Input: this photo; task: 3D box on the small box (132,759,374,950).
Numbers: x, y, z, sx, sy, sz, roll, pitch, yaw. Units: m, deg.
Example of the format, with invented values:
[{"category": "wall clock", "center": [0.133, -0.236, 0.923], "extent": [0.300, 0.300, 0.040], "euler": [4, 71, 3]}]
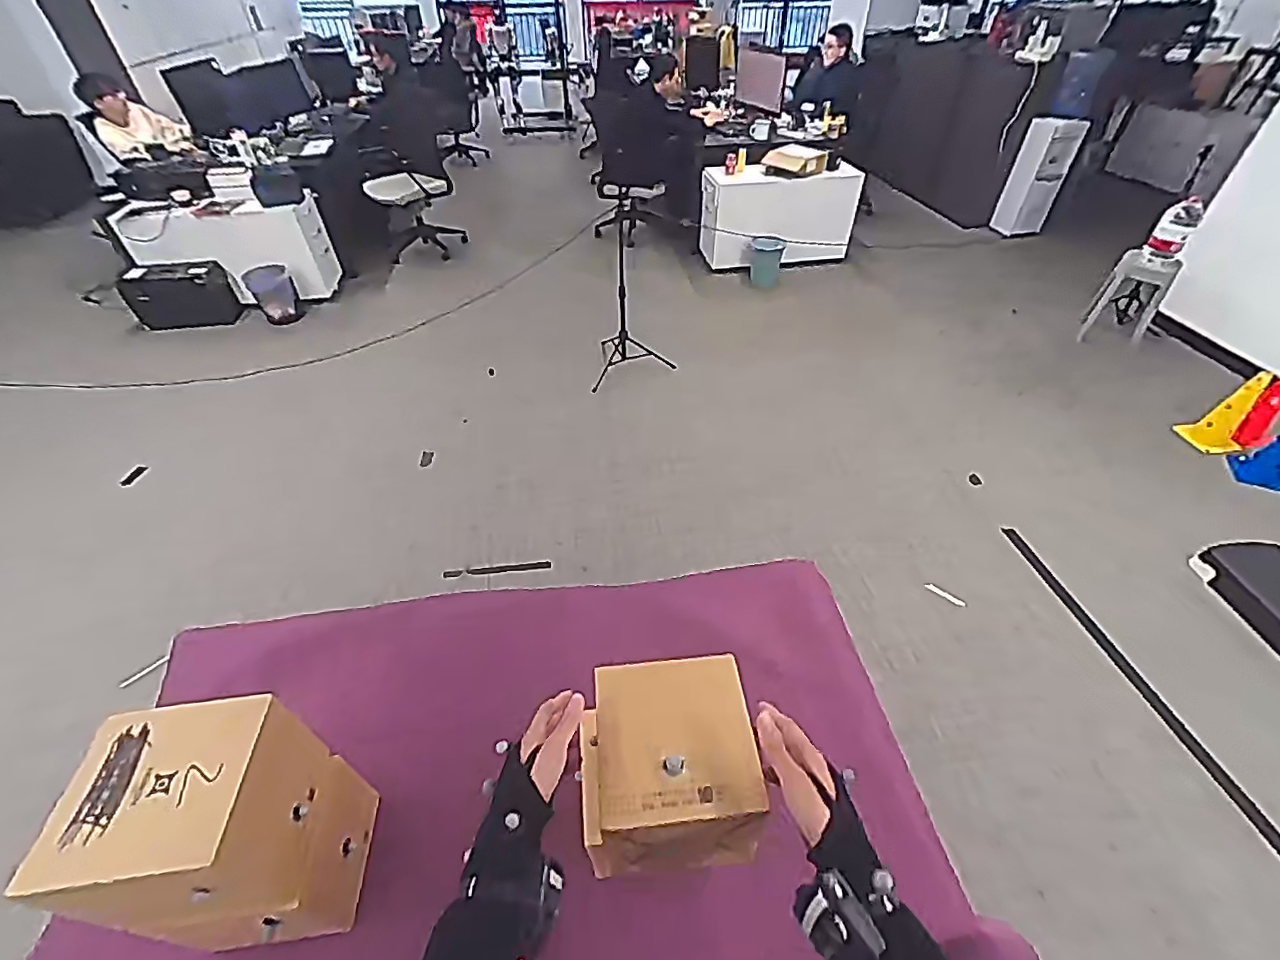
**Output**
[{"category": "small box", "center": [-0.474, 0.487, 0.704], "extent": [0.179, 0.176, 0.168], "euler": [-5, 43, -4]}]

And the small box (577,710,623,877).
[{"category": "small box", "center": [0.009, 0.431, 0.758], "extent": [0.179, 0.176, 0.168], "euler": [-5, 43, -5]}]

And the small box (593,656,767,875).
[{"category": "small box", "center": [0.036, 0.327, 0.618], "extent": [0.168, 0.179, 0.176], "euler": [-5, 43, -4]}]
